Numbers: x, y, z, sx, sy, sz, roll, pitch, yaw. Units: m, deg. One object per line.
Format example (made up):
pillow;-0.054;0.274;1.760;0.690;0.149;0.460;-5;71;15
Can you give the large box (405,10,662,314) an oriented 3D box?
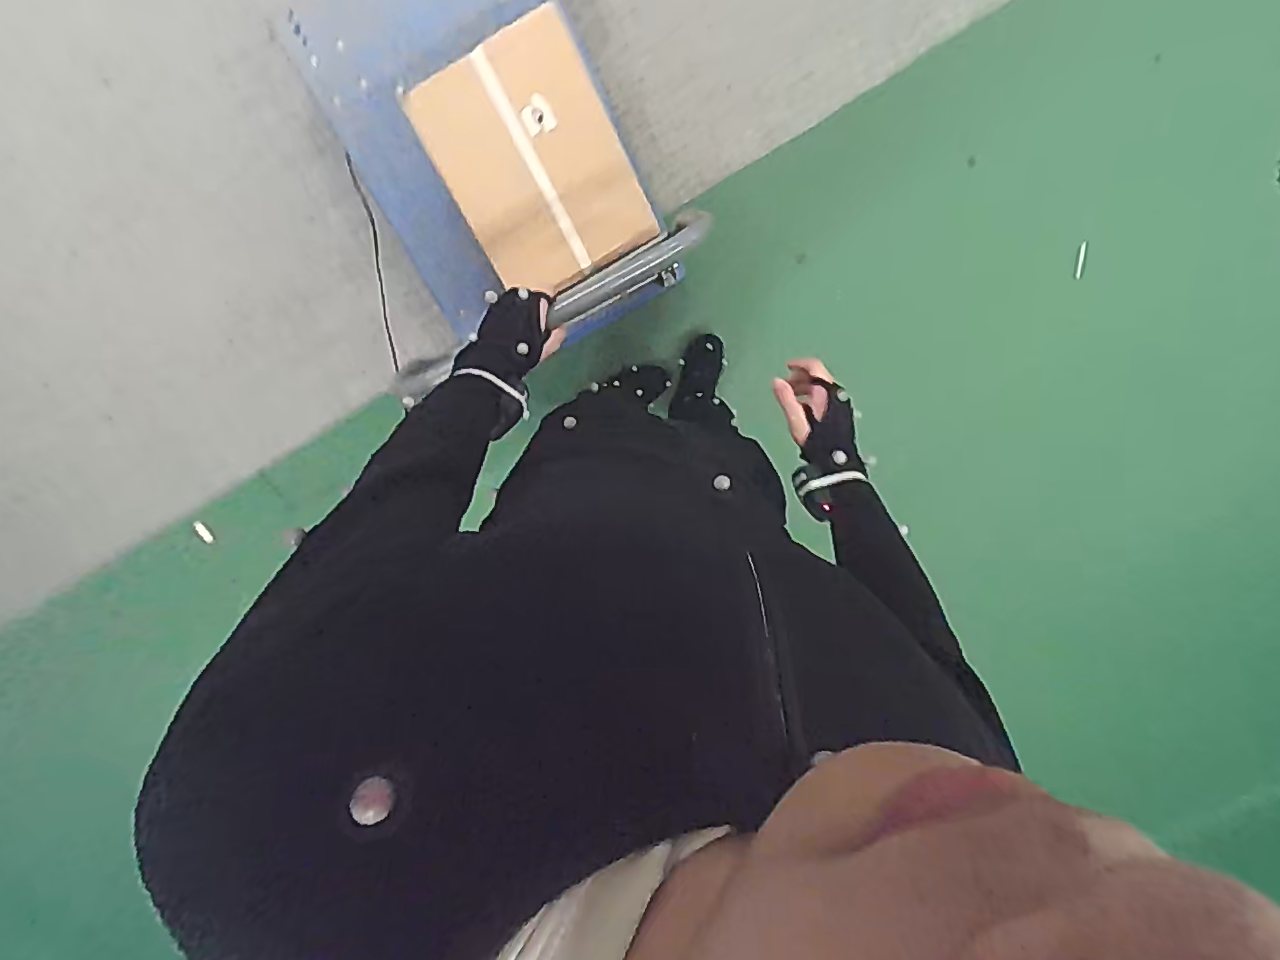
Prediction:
large box;-0.187;-0.598;1.115;0.320;0.320;0.408;-27;106;5
